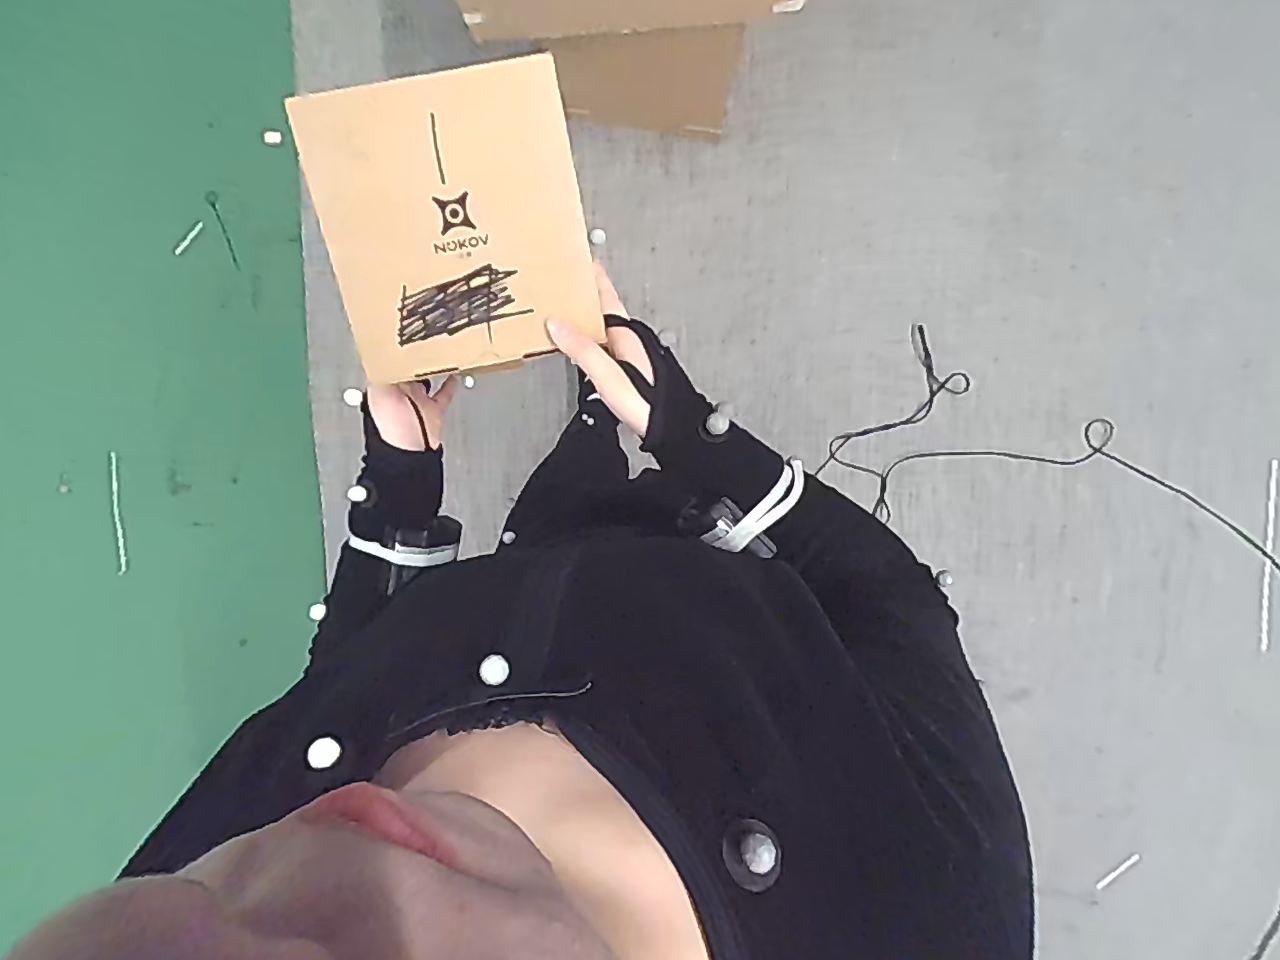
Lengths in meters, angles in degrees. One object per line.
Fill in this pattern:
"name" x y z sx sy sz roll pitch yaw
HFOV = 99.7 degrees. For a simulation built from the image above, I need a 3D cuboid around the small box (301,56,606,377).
"small box" -0.120 -0.185 0.429 0.168 0.176 0.179 -10 103 -3
